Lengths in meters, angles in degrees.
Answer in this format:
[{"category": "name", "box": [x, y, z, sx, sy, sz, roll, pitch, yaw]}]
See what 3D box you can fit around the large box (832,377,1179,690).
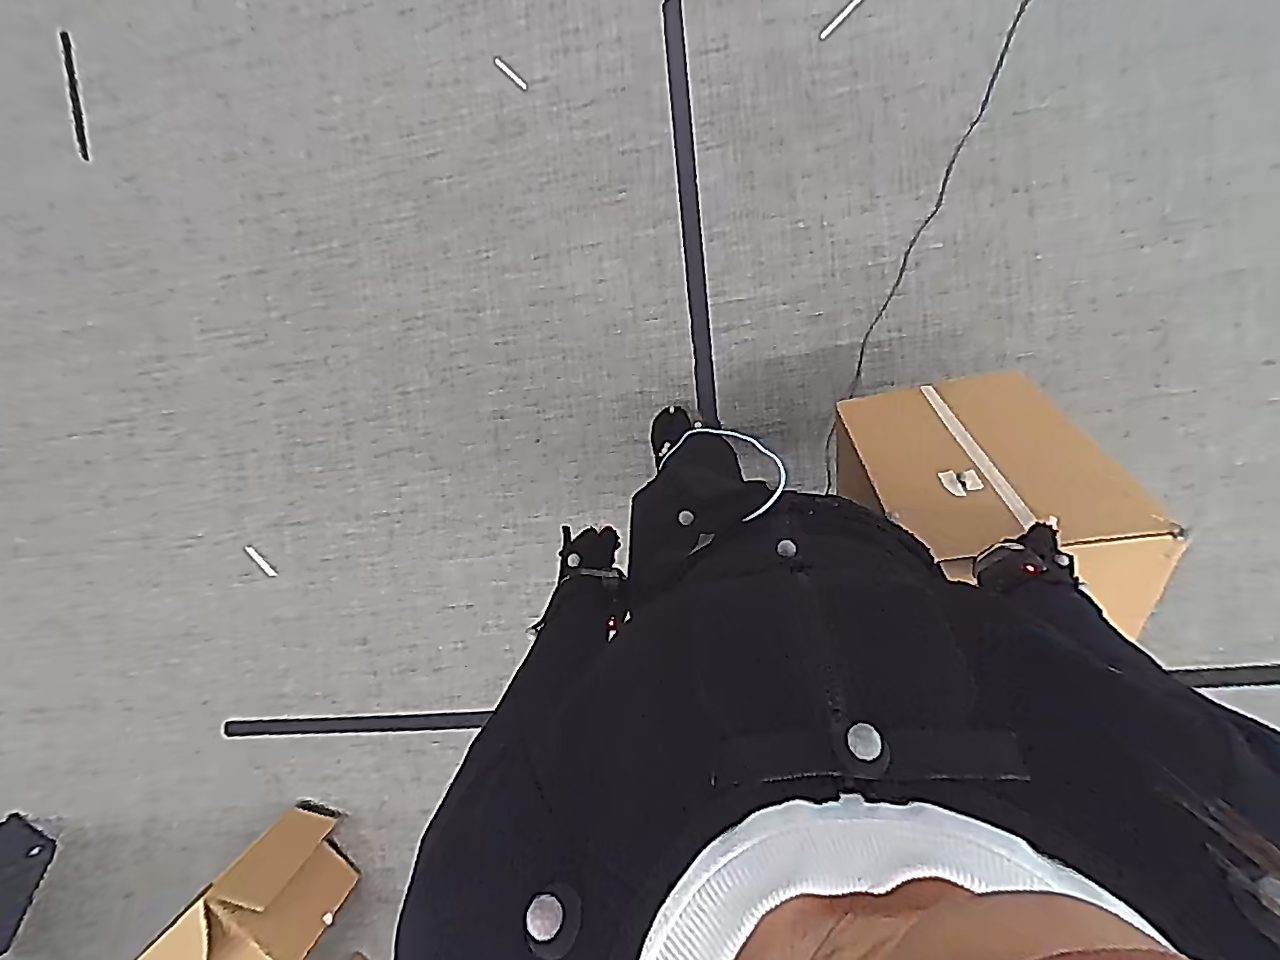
[{"category": "large box", "box": [0.528, 0.080, 0.904, 0.320, 0.408, 0.320, -10, 128, 11]}]
